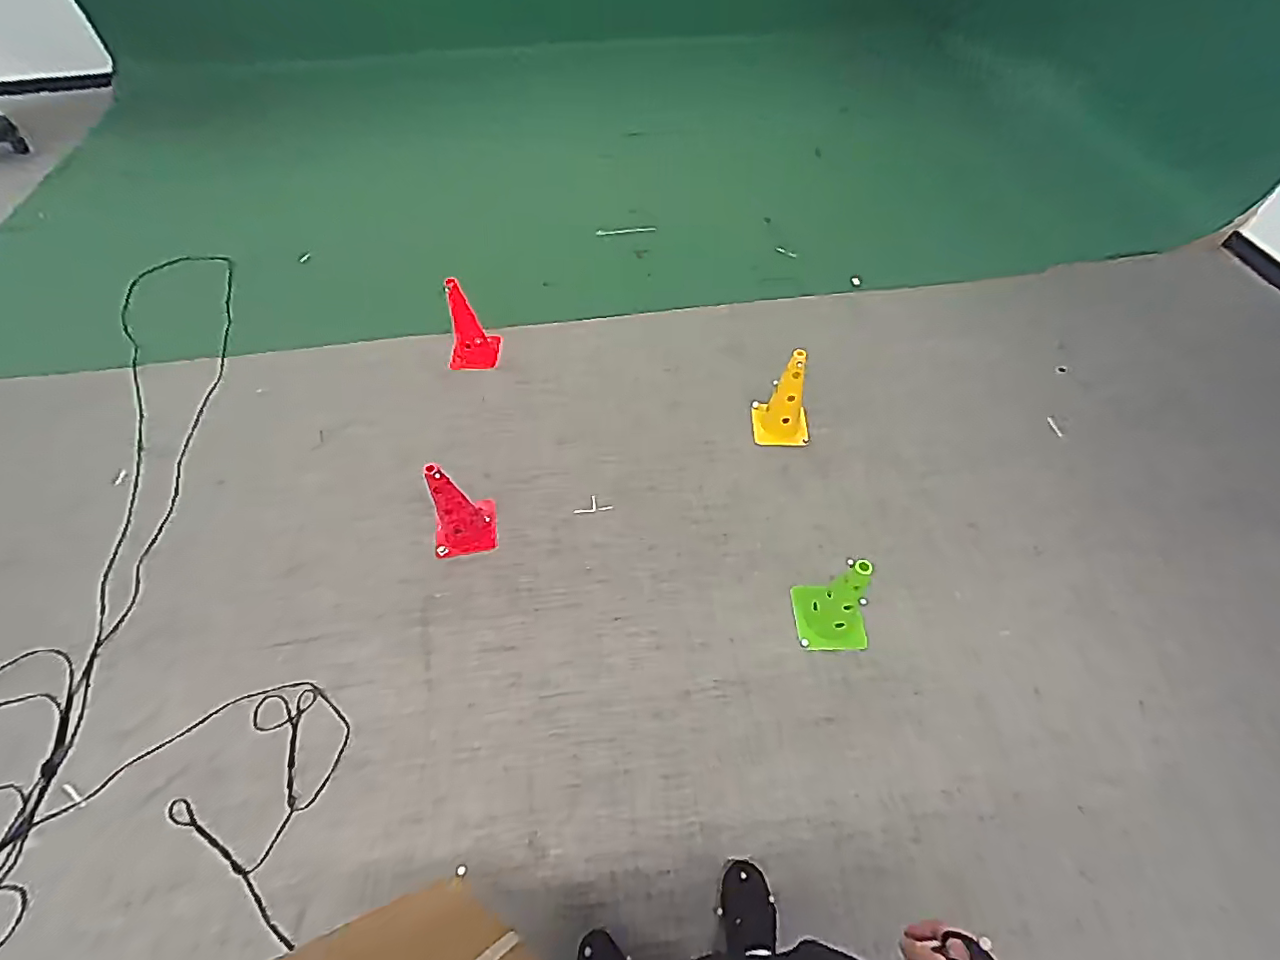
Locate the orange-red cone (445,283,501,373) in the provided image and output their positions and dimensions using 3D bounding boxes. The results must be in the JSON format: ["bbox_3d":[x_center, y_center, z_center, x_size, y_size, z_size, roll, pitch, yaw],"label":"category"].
[{"bbox_3d":[-0.709,-0.624,2.168,0.199,0.360,0.198,-1,55,2],"label":"orange-red cone"}]

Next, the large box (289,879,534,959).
[{"bbox_3d":[-0.338,0.807,0.668,0.320,0.408,0.320,25,80,26],"label":"large box"}]

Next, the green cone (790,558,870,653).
[{"bbox_3d":[0.563,0.319,1.491,0.200,0.368,0.202,-2,54,0],"label":"green cone"}]
